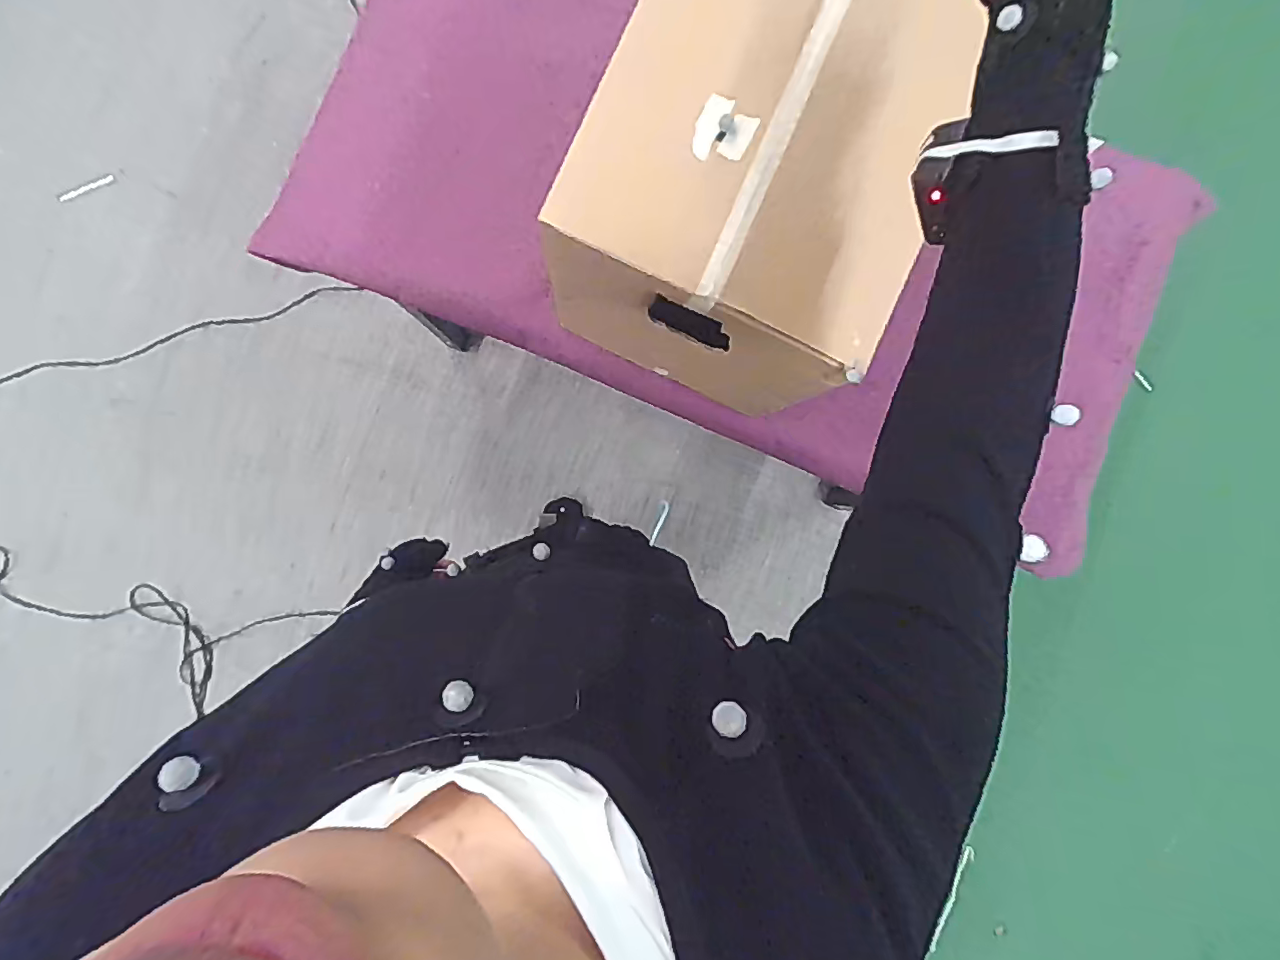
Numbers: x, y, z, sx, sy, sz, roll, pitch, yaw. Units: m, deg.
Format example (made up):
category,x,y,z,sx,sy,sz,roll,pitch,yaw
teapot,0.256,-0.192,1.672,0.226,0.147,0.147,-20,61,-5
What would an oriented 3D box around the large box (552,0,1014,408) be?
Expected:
category,x,y,z,sx,sy,sz,roll,pitch,yaw
large box,0.125,-0.342,0.636,0.320,0.320,0.408,25,88,-4
